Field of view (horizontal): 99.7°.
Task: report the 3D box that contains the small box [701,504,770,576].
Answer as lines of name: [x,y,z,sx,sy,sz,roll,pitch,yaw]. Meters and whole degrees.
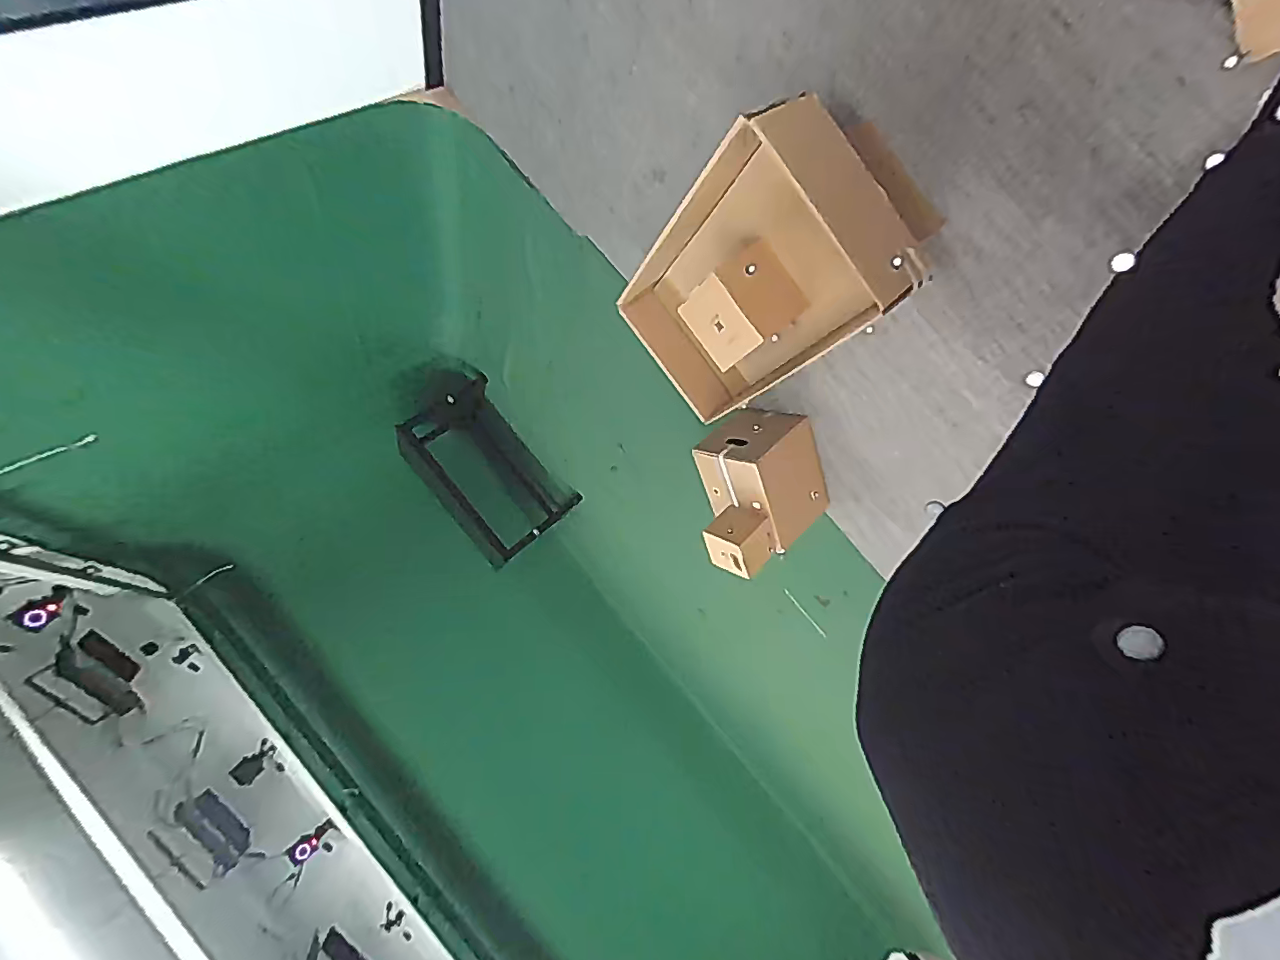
small box: [0.352,0.210,1.945,0.179,0.176,0.168,20,140,46]
